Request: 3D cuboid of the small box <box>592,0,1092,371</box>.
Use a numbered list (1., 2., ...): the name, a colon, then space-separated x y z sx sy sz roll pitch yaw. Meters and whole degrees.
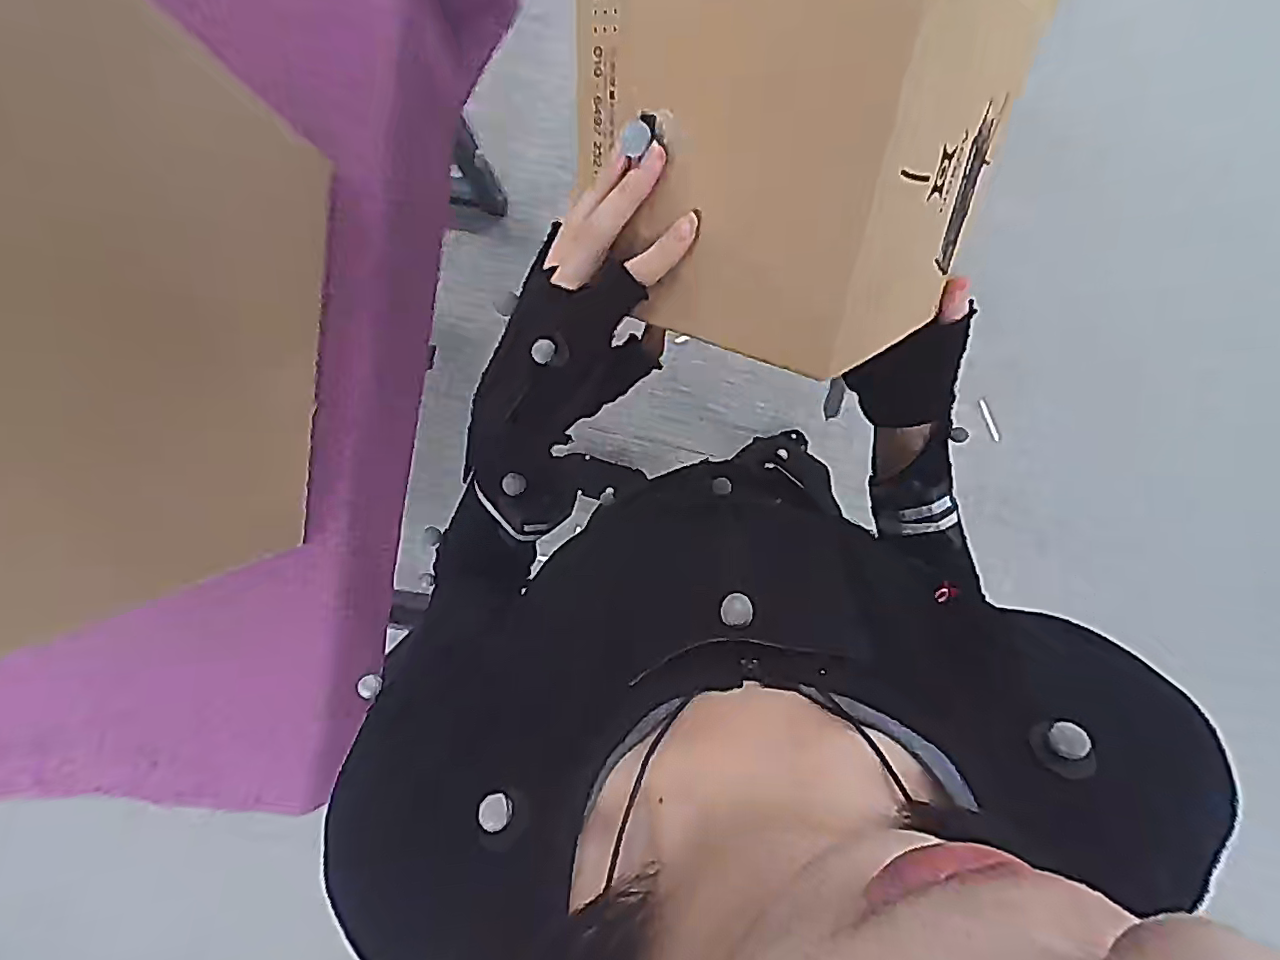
1. small box: 0.096 -0.179 0.293 0.176 0.179 0.168 30 130 33
